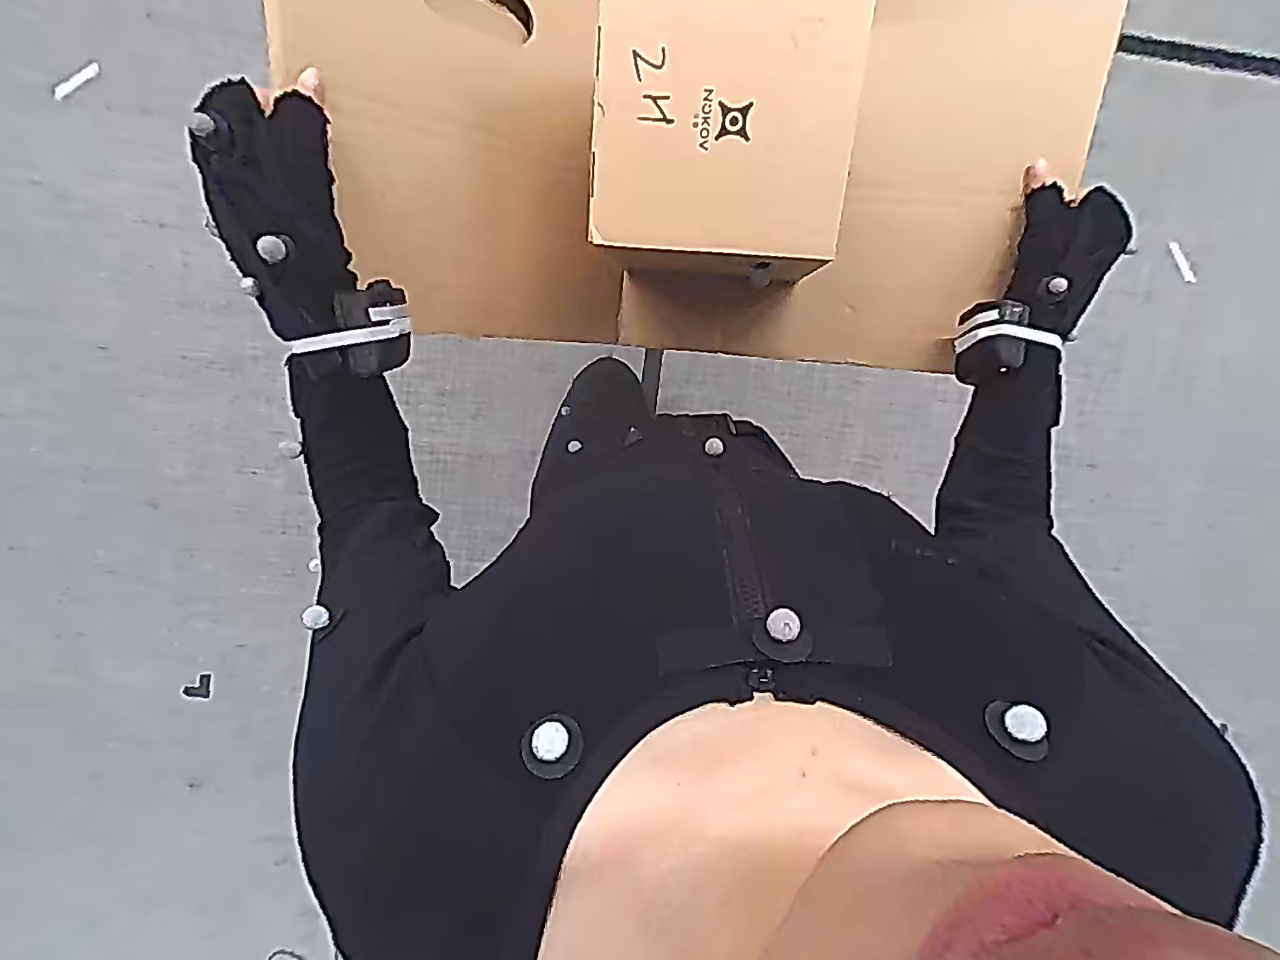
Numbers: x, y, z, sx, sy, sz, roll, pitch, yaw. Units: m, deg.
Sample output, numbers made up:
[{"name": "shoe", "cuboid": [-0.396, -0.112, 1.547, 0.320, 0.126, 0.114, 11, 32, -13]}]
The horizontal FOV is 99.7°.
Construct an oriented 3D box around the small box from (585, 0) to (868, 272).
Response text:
[{"name": "small box", "cuboid": [0.062, -0.270, 0.444, 0.179, 0.176, 0.168, 7, 106, 6]}]
